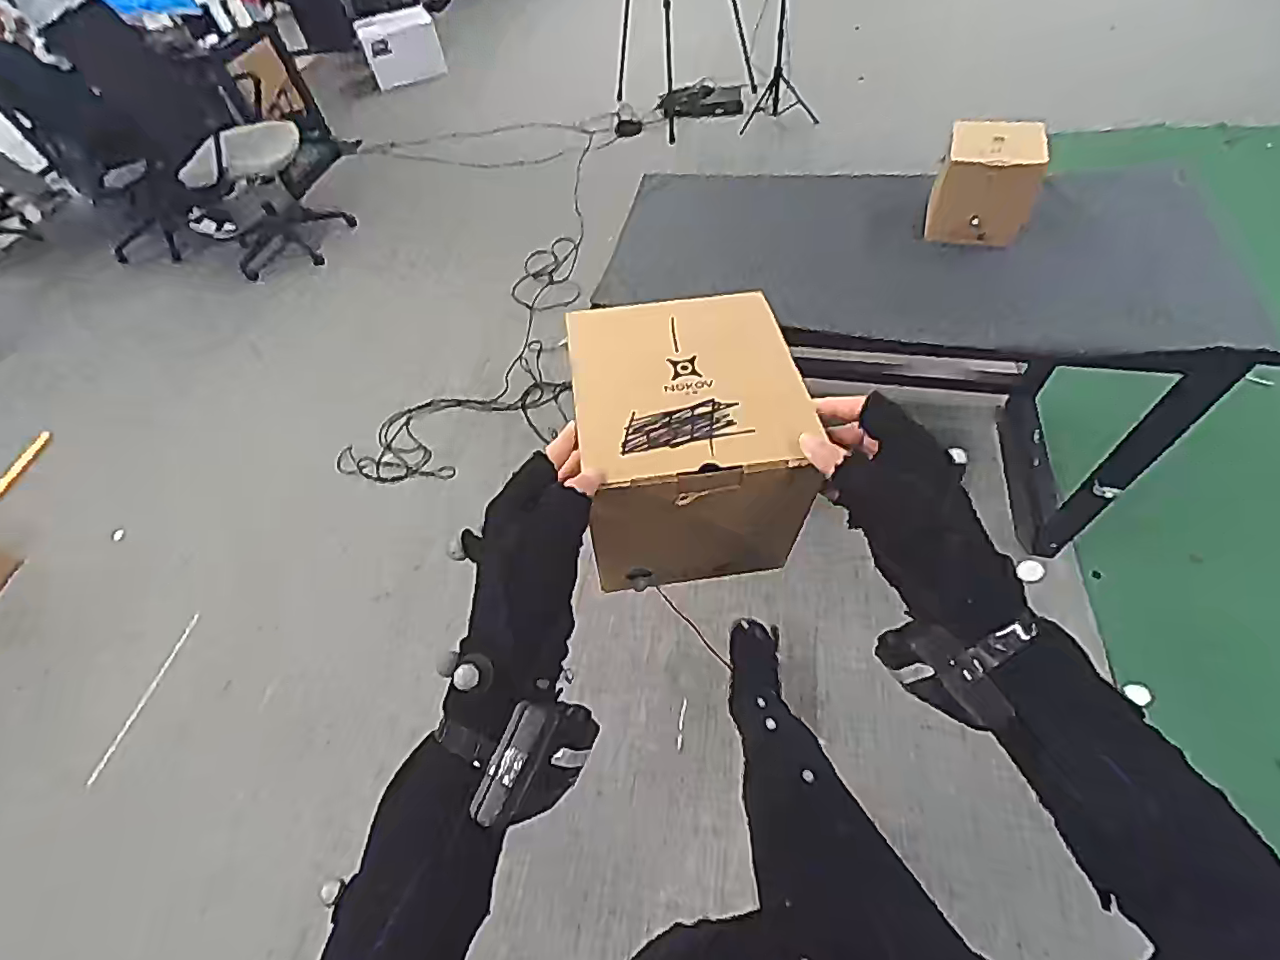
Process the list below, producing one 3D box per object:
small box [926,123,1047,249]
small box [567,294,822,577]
[{"bbox_3d":[0.708,-0.609,1.119,0.168,0.176,0.179,12,58,18],"label":"small box"},{"bbox_3d":[0.033,-0.029,0.463,0.168,0.176,0.179,-7,55,-3],"label":"small box"}]
